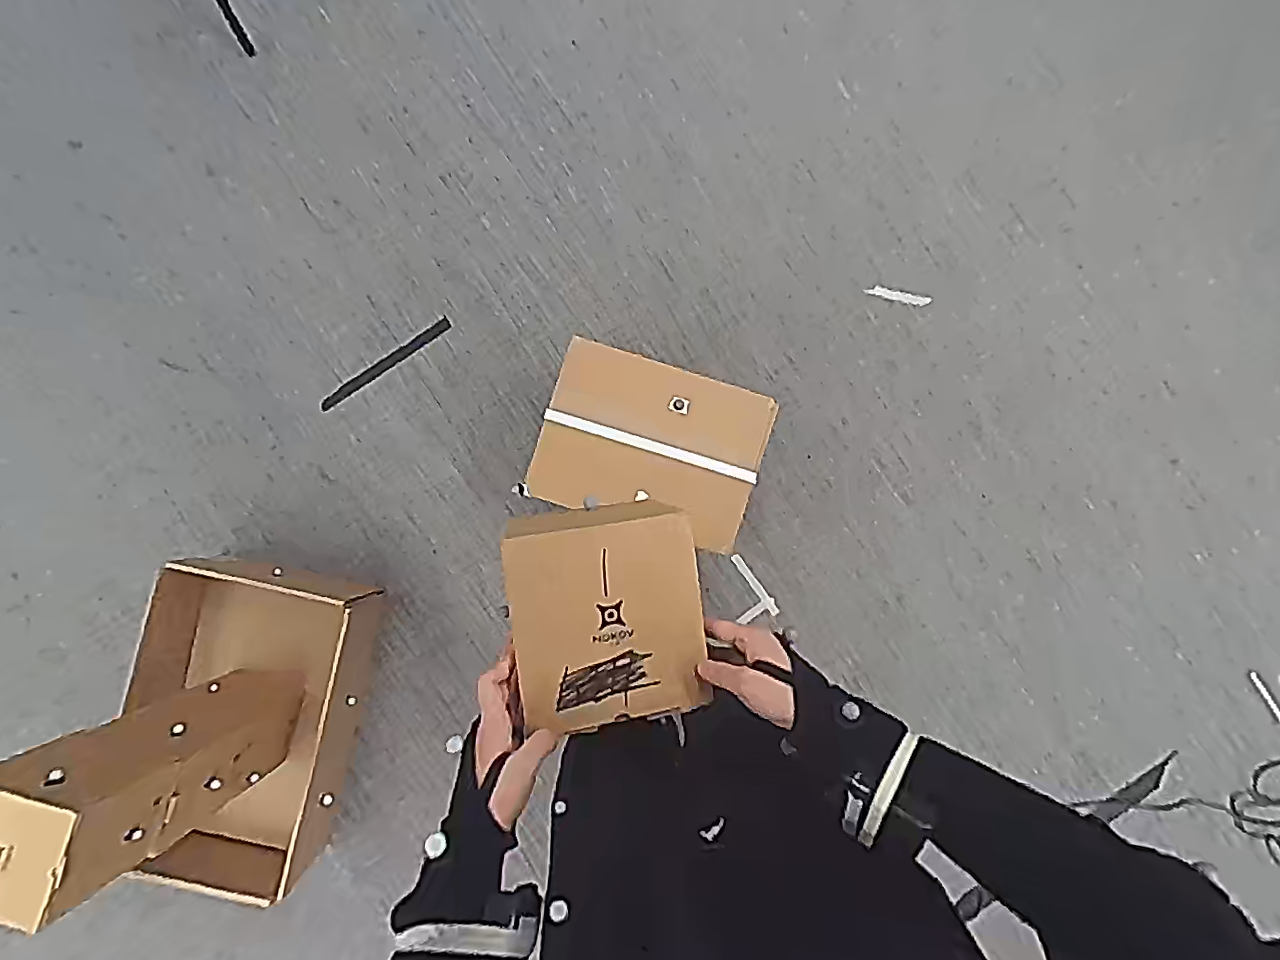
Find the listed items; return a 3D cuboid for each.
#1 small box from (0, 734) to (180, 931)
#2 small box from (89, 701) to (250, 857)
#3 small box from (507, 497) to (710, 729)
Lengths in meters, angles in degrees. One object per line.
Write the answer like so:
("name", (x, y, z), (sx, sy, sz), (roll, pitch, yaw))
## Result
("small box", (-0.857, 0.505, 0.805), (0.179, 0.176, 0.168), (16, 87, 0))
("small box", (-0.854, 0.520, 0.968), (0.179, 0.176, 0.168), (17, 87, -1))
("small box", (-0.038, 0.116, 0.547), (0.168, 0.176, 0.179), (-7, 92, -11))
